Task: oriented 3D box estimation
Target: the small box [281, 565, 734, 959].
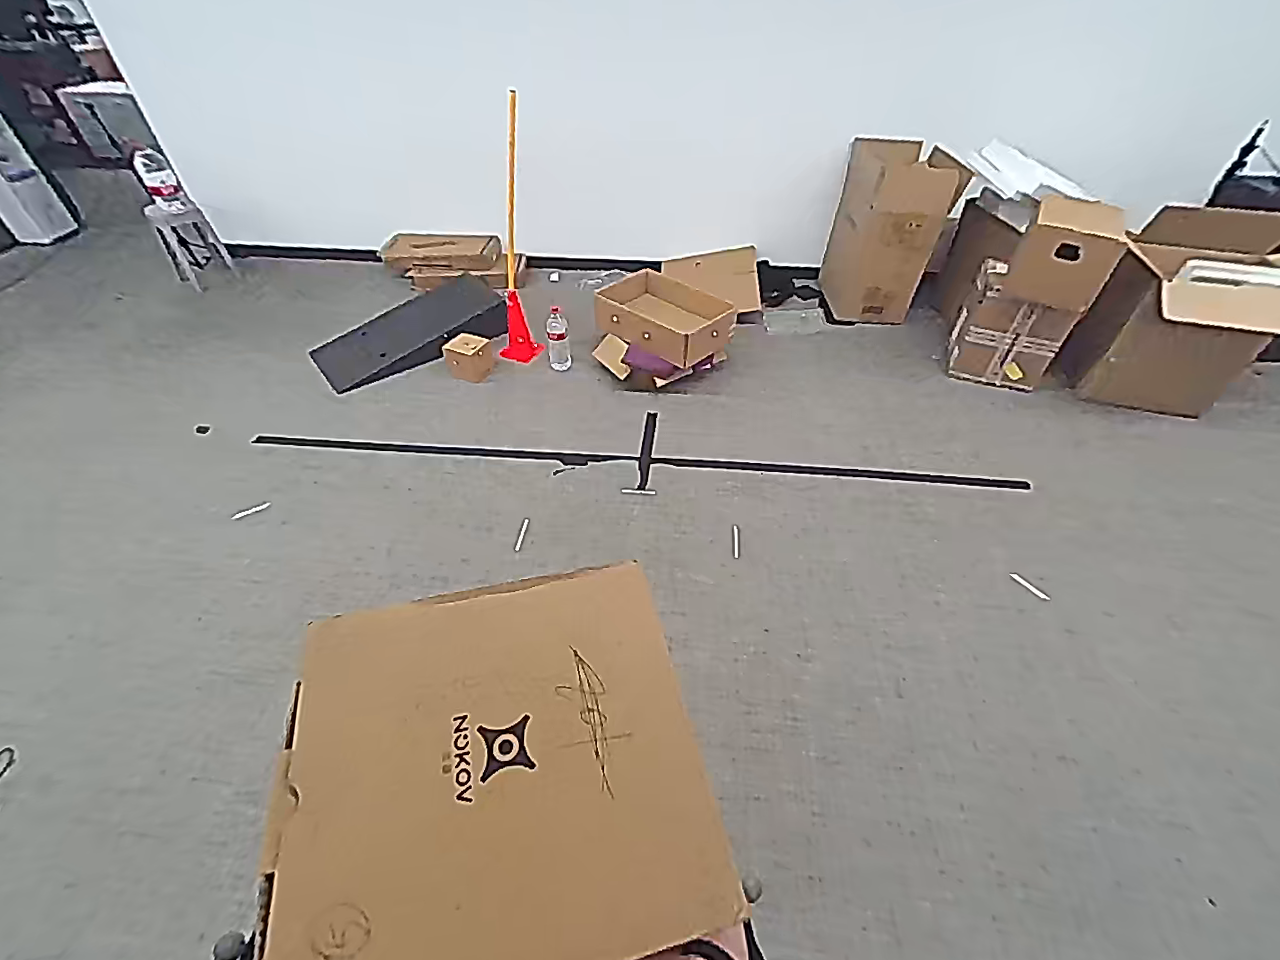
[{"bbox_3d":[-0.069,0.176,0.311,0.179,0.176,0.168,-10,52,-14],"label":"small box"}]
